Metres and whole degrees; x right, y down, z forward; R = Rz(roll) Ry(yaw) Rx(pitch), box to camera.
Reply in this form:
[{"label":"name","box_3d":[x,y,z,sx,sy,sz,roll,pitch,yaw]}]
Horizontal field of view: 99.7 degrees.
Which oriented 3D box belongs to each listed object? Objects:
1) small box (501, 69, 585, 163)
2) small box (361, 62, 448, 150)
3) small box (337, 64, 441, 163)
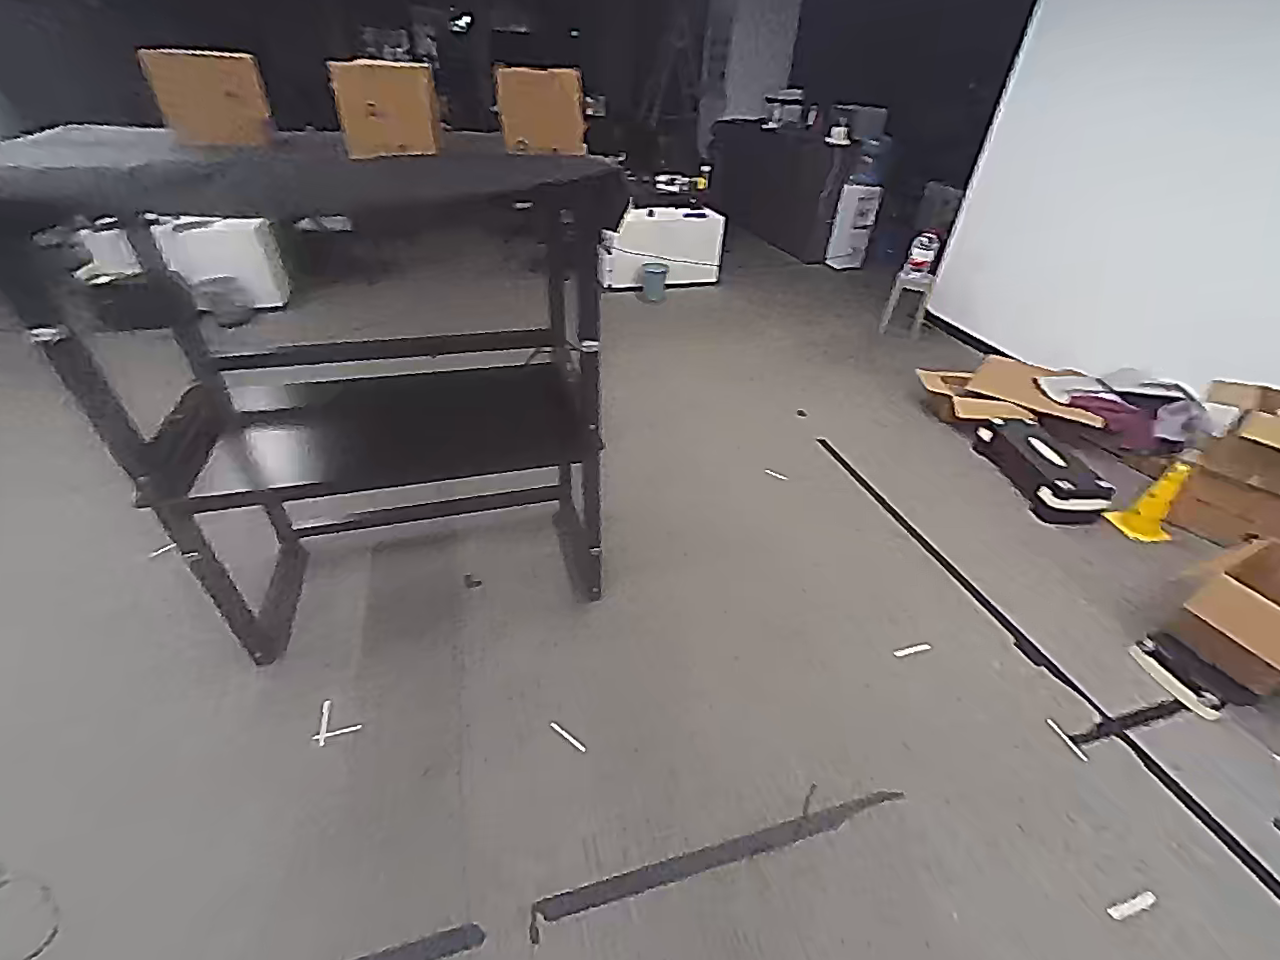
[{"label":"small box","box_3d":[-0.219,-0.819,1.222,0.168,0.176,0.179,-7,35,-12]},{"label":"small box","box_3d":[-0.585,-0.941,1.363,0.168,0.176,0.179,-8,38,-15]},{"label":"small box","box_3d":[-0.529,-0.789,1.166,0.168,0.176,0.179,-8,37,-14]}]
